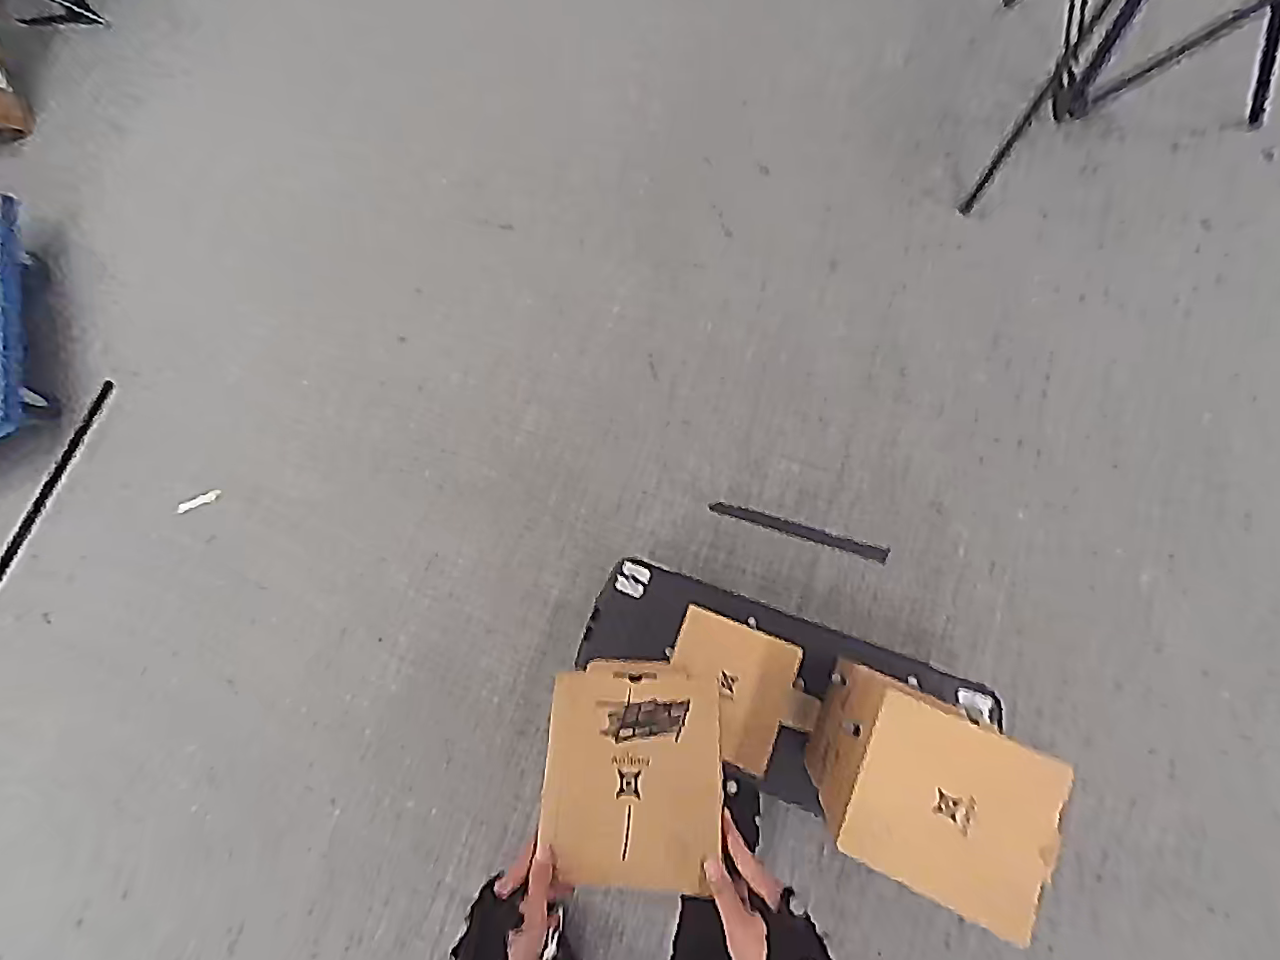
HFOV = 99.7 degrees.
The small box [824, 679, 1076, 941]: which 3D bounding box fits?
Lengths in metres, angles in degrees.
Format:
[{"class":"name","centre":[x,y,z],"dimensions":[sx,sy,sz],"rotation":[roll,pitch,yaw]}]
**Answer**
[{"class":"small box","centre":[0.317,0.333,0.595],"dimensions":[0.179,0.176,0.168],"rotation":[21,80,16]}]

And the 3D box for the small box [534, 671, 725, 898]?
[{"class":"small box","centre":[0.003,0.306,0.564],"dimensions":[0.168,0.176,0.179],"rotation":[-2,62,8]}]

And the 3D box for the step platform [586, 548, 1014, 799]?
[{"class":"step platform","centre":[0.251,0.356,0.957],"dimensions":[0.684,0.204,0.286],"rotation":[17,79,16]}]

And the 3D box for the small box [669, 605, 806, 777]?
[{"class":"small box","centre":[0.135,0.303,0.813],"dimensions":[0.168,0.176,0.179],"rotation":[19,80,16]}]
